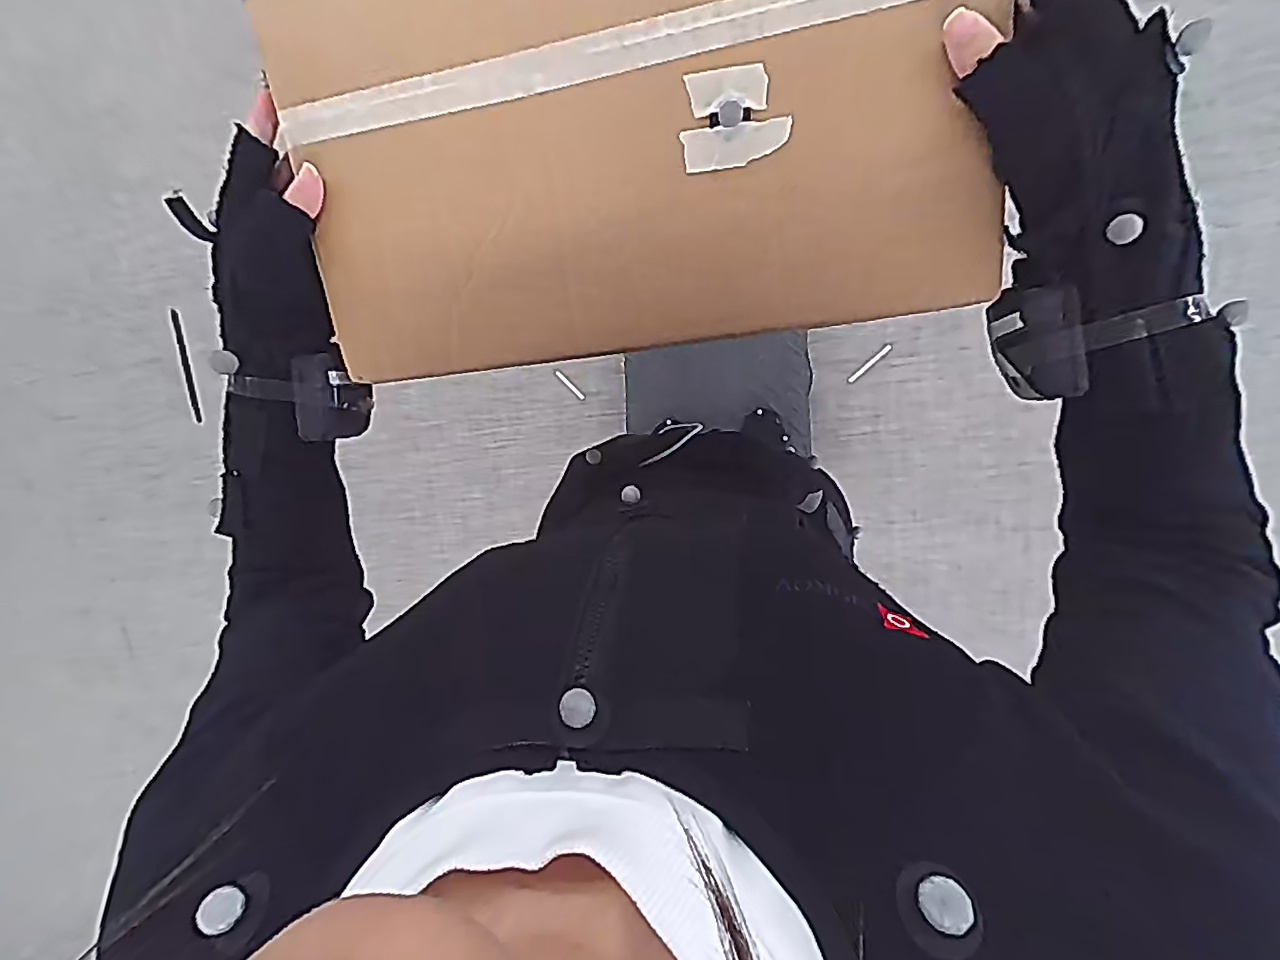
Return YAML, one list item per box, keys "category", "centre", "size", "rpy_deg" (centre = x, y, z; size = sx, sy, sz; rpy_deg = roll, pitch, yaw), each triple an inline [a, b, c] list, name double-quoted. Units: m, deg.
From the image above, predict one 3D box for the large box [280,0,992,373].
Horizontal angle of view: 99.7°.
- category: "large box"
  centre: [0.005, -0.280, 0.451]
  size: [0.408, 0.320, 0.320]
  rpy_deg: [-5, 105, 10]
